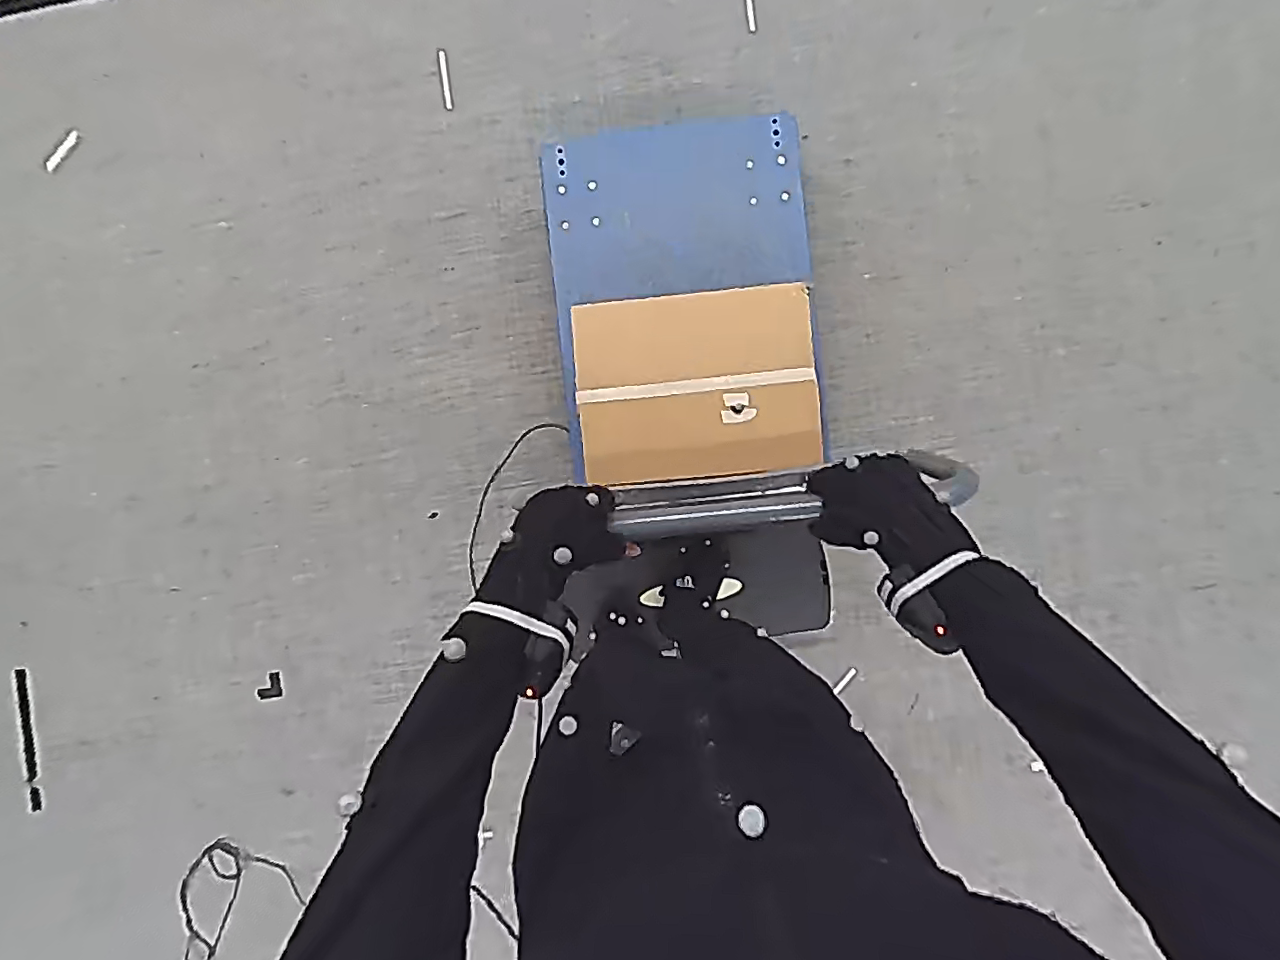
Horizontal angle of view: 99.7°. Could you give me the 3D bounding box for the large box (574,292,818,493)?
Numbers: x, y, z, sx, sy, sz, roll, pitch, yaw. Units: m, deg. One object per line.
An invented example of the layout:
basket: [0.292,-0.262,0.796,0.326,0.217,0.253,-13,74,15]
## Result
large box: [0.100,-0.151,1.086,0.408,0.320,0.320,-5,91,2]
